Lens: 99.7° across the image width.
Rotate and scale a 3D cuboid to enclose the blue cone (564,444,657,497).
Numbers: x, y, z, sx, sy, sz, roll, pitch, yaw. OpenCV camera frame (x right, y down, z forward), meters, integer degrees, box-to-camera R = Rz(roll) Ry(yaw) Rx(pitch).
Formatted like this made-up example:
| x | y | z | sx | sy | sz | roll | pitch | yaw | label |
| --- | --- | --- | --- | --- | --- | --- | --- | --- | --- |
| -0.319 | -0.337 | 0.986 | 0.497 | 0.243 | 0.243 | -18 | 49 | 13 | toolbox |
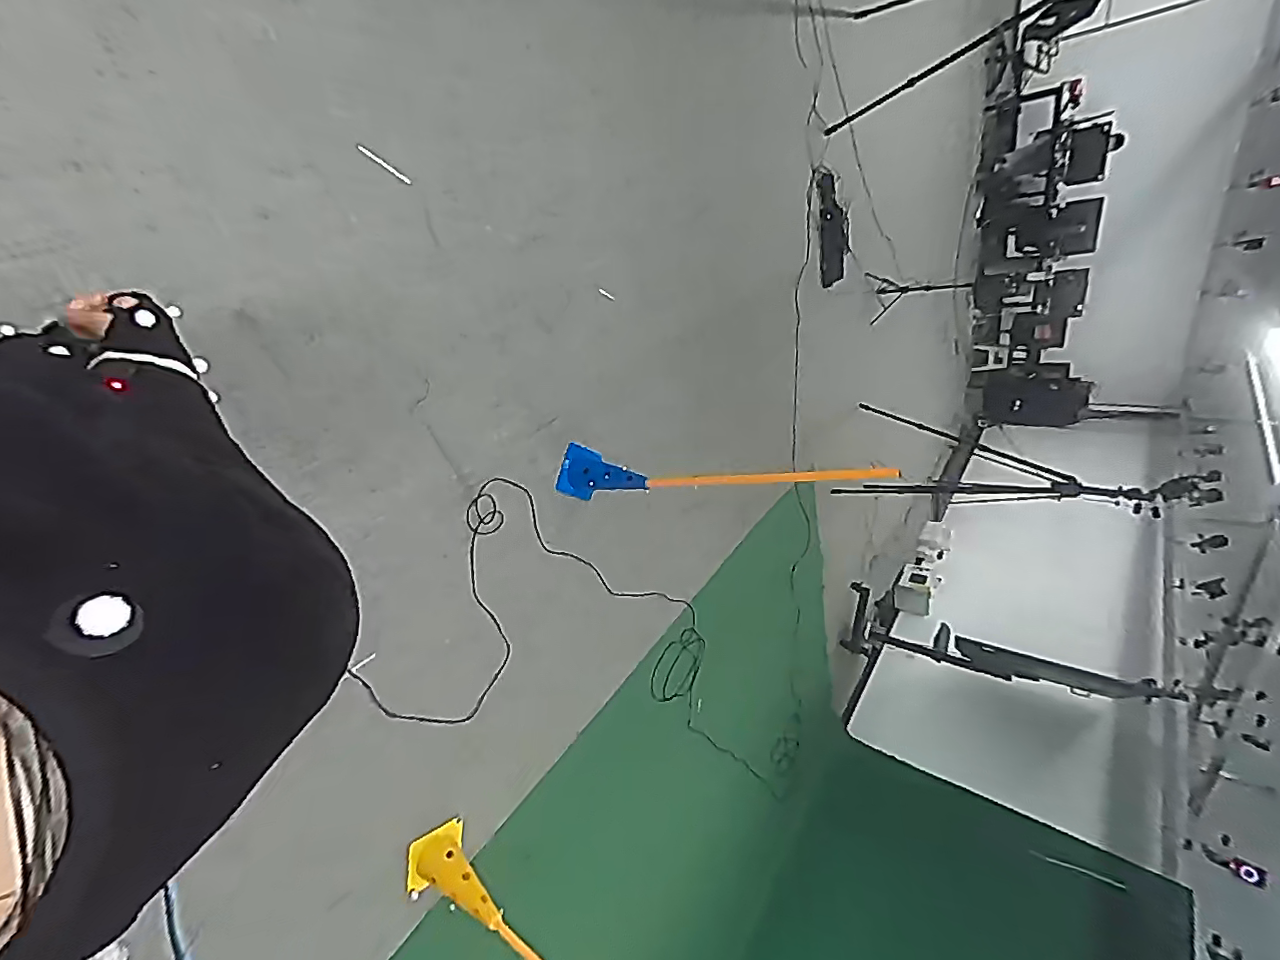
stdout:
| x | y | z | sx | sy | sz | roll | pitch | yaw | label |
| --- | --- | --- | --- | --- | --- | --- | --- | --- | --- |
| -0.098 | -0.020 | 2.034 | 0.192 | 0.380 | 0.193 | 21 | 80 | -50 | blue cone |
